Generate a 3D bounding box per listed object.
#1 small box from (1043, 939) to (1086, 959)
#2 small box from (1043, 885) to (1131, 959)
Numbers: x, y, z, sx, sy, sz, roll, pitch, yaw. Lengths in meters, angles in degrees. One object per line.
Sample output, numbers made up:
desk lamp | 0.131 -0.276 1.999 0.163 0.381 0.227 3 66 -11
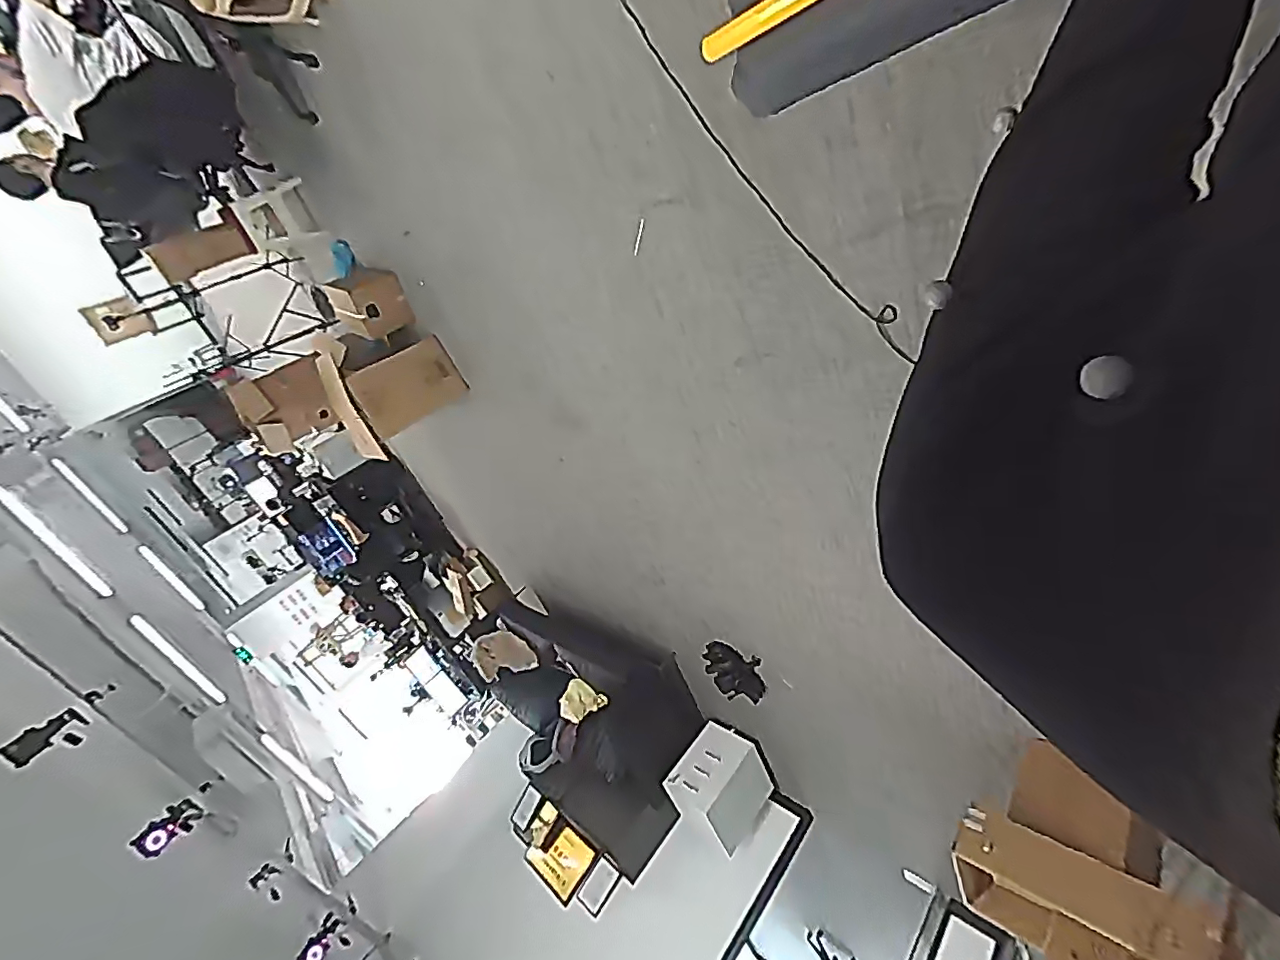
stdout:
small box | 1.221 1.456 1.515 0.168 0.176 0.179 13 134 45
small box | 1.325 1.362 1.602 0.168 0.176 0.179 15 136 42
